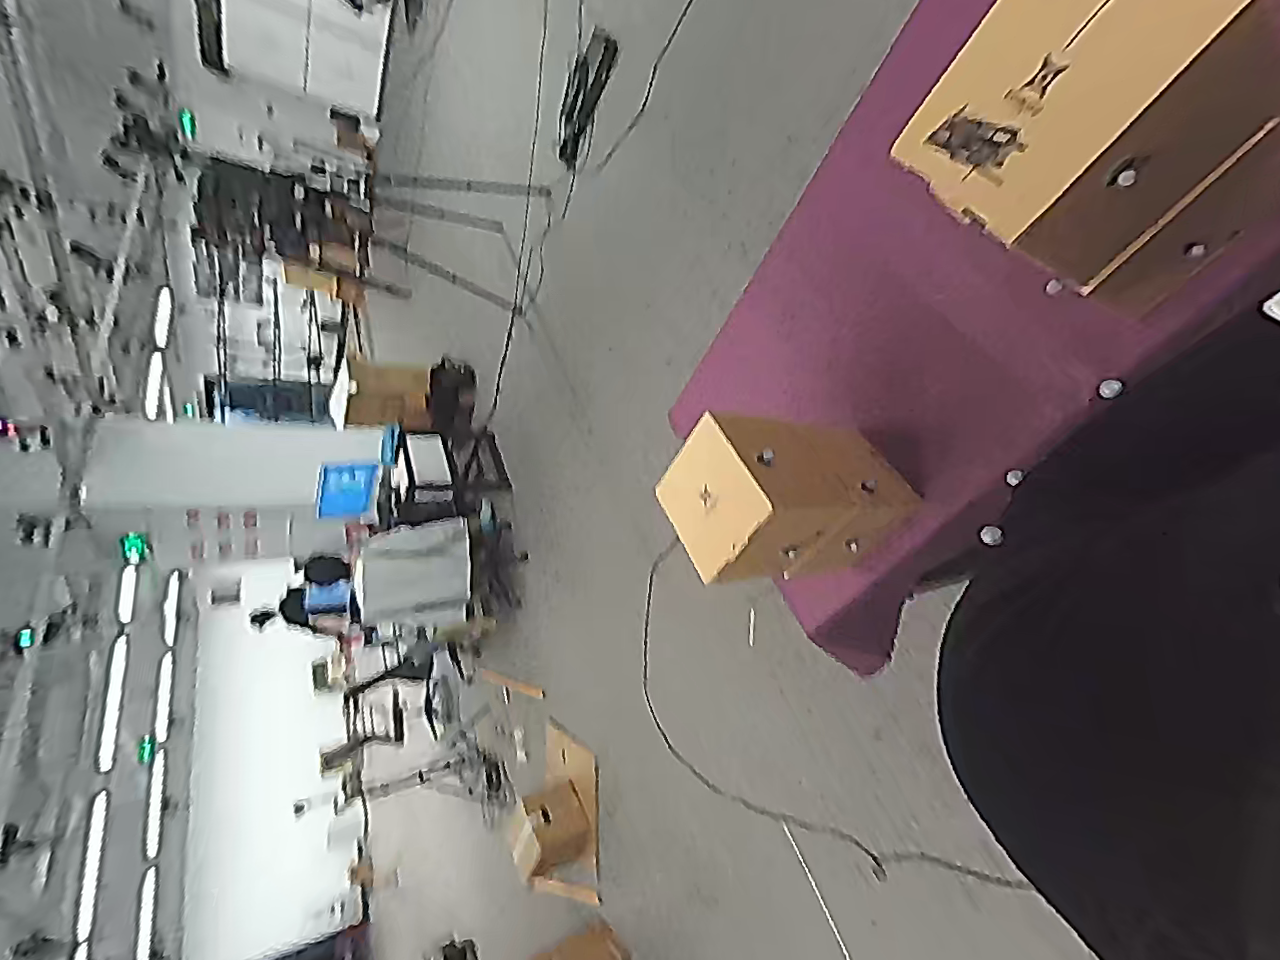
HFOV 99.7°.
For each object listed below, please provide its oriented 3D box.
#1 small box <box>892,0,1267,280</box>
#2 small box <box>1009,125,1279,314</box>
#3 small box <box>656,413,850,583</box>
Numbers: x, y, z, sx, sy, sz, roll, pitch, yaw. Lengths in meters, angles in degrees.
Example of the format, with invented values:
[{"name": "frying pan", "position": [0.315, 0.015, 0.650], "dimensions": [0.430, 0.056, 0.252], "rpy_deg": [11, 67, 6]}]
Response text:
[{"name": "small box", "position": [0.375, -0.305, 0.476], "dimensions": [0.179, 0.176, 0.168], "rpy_deg": [-54, 49, 38]}, {"name": "small box", "position": [0.506, -0.297, 0.576], "dimensions": [0.168, 0.176, 0.179], "rpy_deg": [-55, 49, 38]}, {"name": "small box", "position": [0.158, 0.026, 0.779], "dimensions": [0.168, 0.176, 0.179], "rpy_deg": [-58, 47, 37]}]
